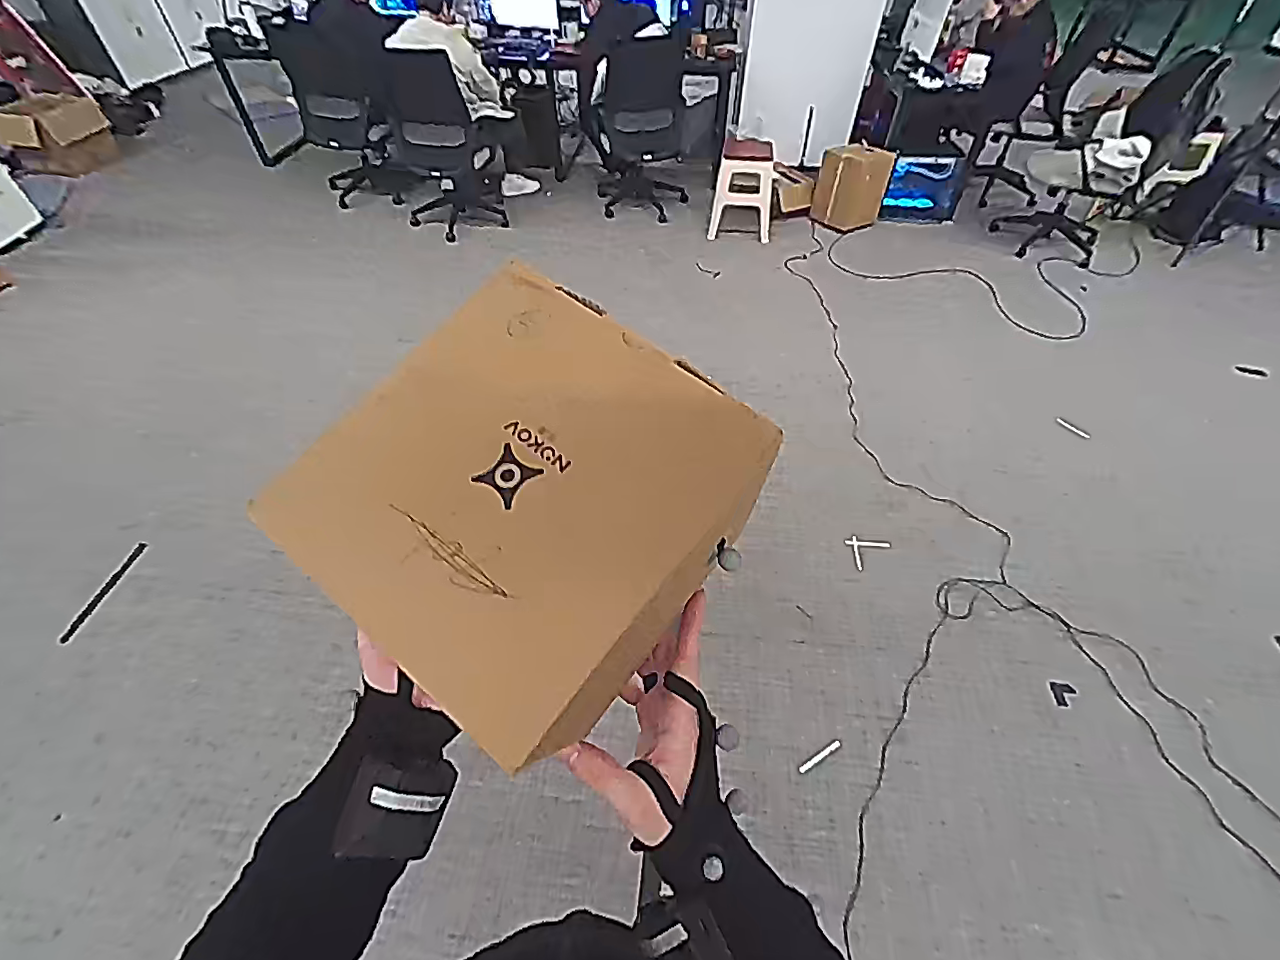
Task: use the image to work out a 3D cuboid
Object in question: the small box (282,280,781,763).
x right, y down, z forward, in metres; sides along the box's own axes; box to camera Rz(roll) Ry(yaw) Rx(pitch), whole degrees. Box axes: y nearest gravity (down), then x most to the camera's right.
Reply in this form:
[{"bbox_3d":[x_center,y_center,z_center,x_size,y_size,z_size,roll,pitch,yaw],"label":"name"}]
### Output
[{"bbox_3d":[-0.046,0.029,0.322,0.168,0.176,0.179,36,75,16],"label":"small box"}]
